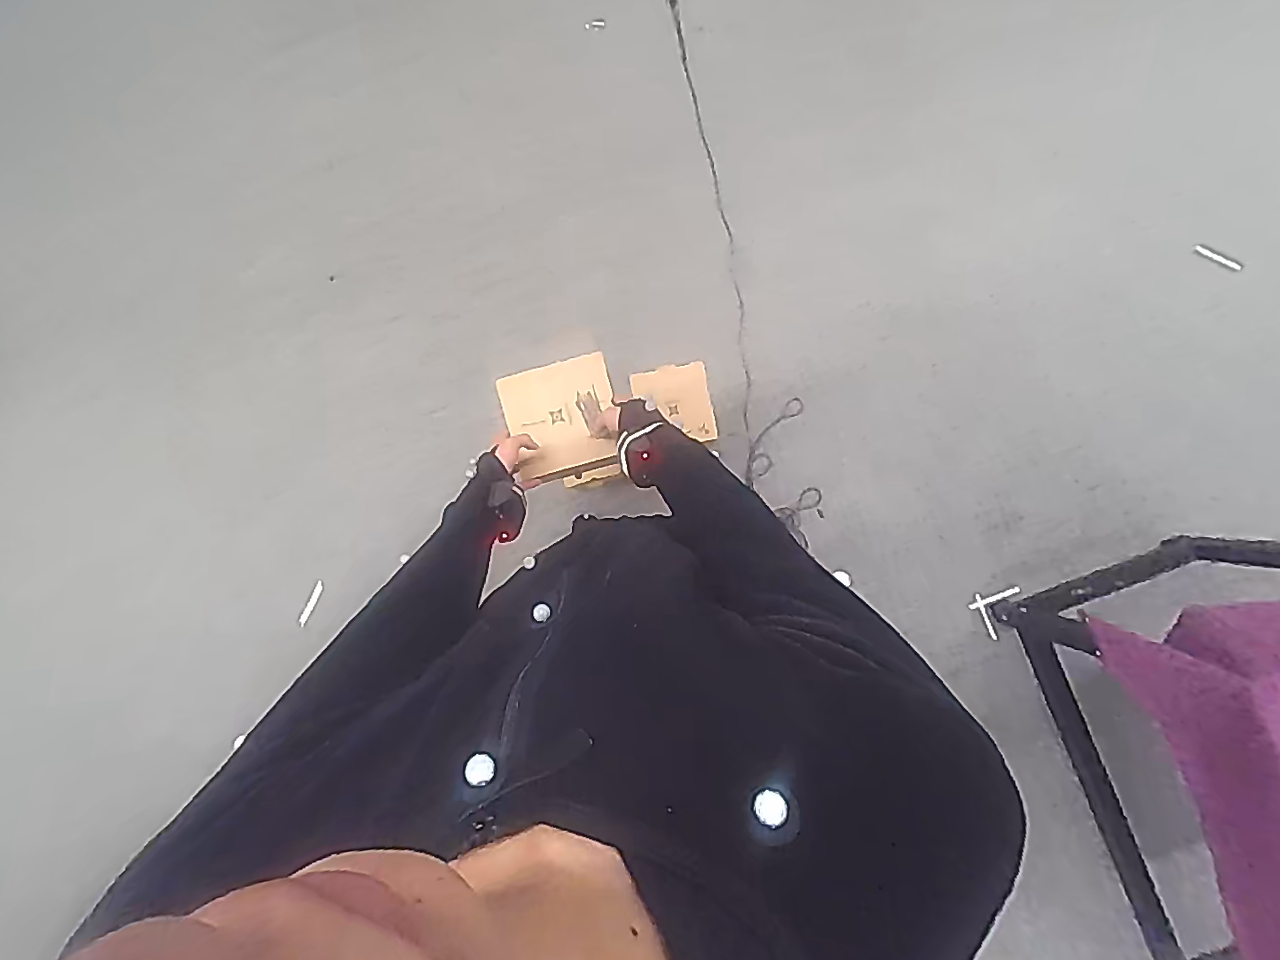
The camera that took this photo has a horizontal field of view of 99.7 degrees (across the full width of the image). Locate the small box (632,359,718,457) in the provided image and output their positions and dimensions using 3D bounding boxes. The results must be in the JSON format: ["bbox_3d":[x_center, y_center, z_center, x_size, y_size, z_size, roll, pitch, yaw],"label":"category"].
[{"bbox_3d":[0.078,-0.158,1.239,0.168,0.176,0.179,-11,86,3],"label":"small box"}]

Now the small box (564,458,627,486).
[{"bbox_3d":[-0.141,-0.086,1.572,0.168,0.176,0.179,-15,87,3],"label":"small box"}]

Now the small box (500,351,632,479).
[{"bbox_3d":[-0.116,-0.101,0.915,0.179,0.176,0.168,-15,88,0],"label":"small box"}]
